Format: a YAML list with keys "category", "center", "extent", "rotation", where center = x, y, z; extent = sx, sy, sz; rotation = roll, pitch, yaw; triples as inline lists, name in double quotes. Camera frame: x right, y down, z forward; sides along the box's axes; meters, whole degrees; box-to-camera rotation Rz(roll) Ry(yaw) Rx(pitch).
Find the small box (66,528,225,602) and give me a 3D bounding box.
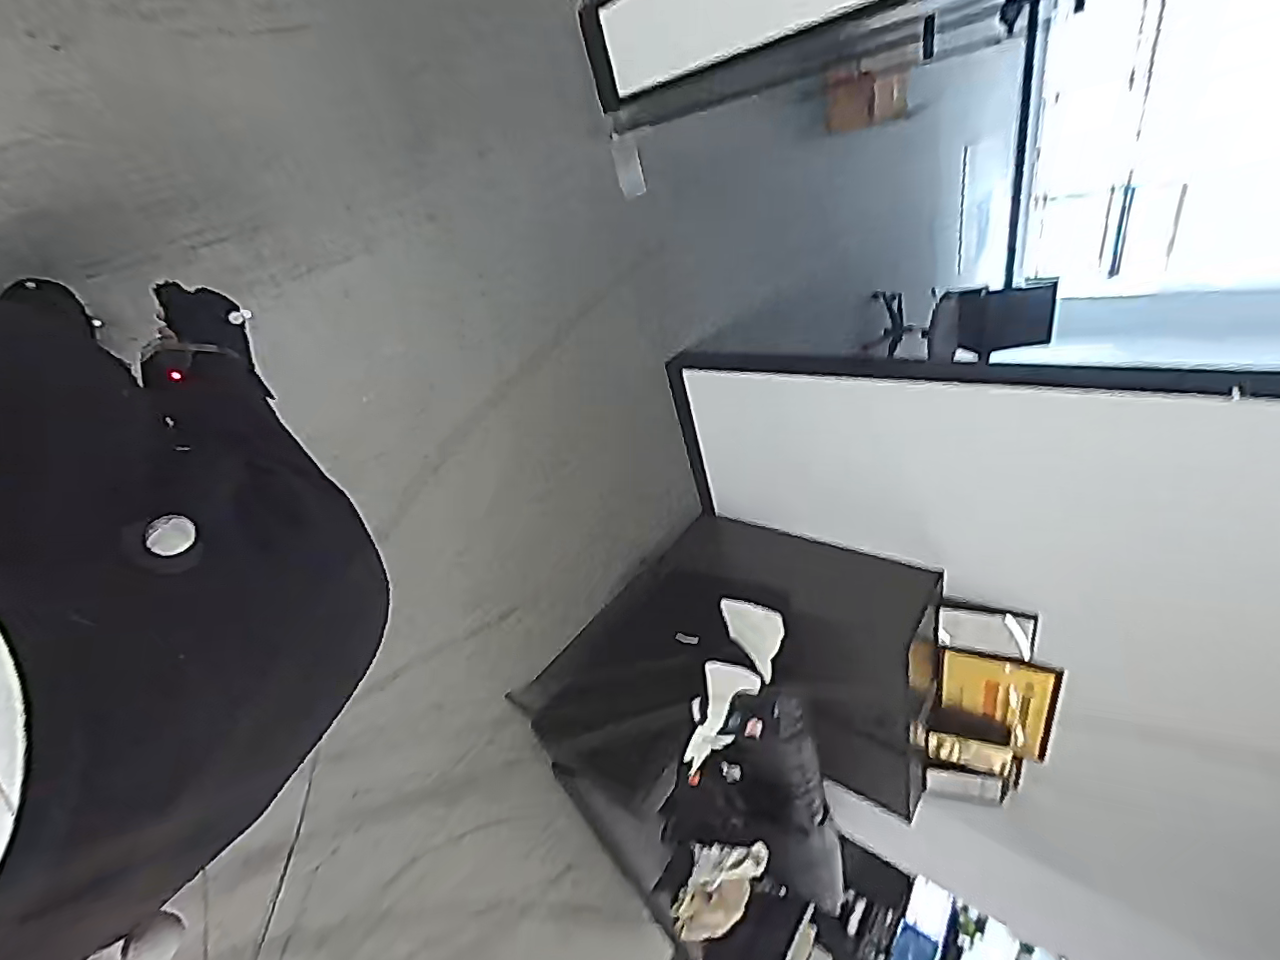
- category: "small box"
  center: [-1.014, 0.221, 1.110]
  extent: [0.179, 0.176, 0.168]
  rotation: [-41, 128, -35]
